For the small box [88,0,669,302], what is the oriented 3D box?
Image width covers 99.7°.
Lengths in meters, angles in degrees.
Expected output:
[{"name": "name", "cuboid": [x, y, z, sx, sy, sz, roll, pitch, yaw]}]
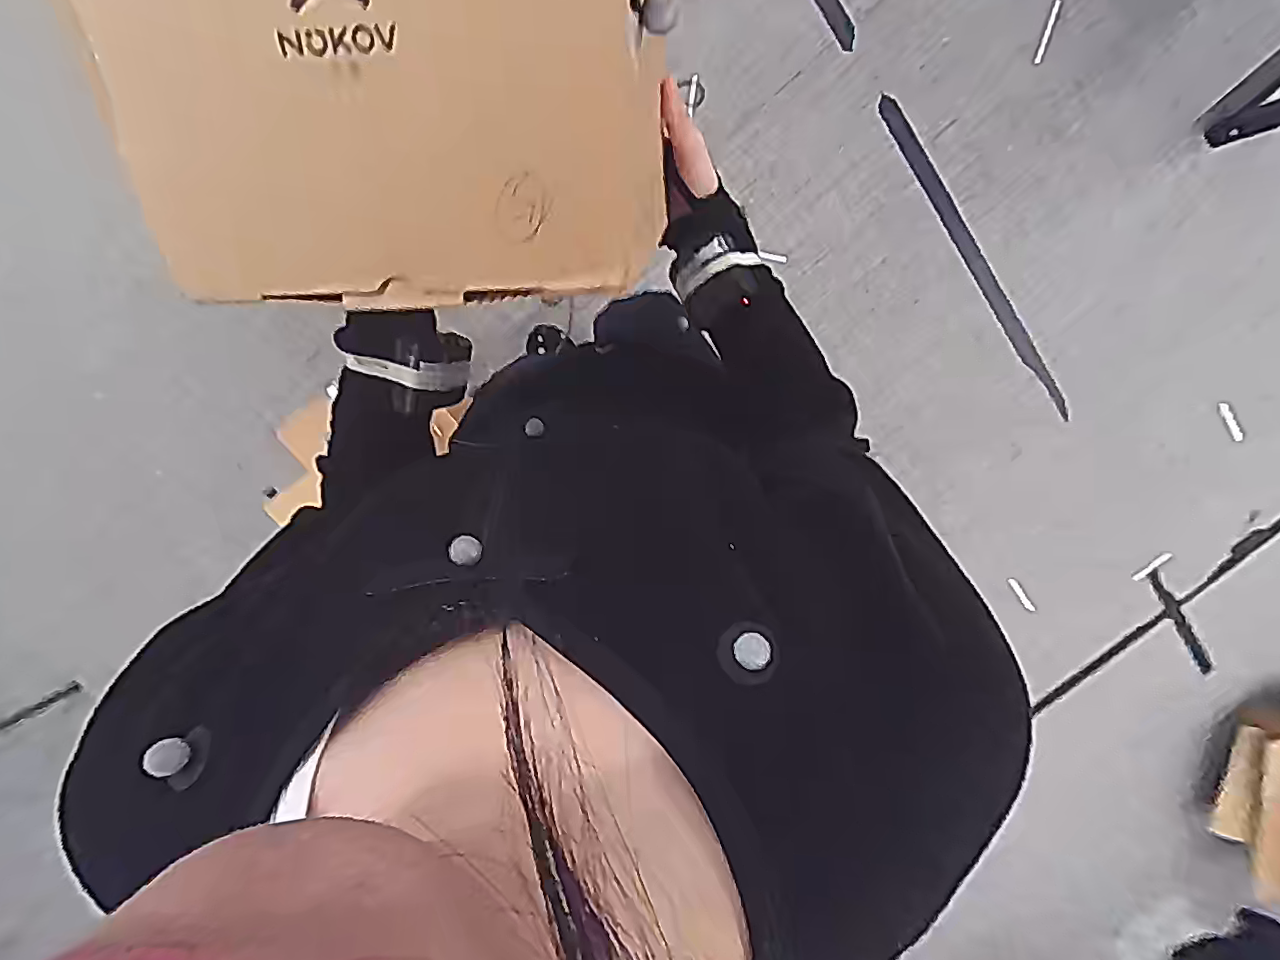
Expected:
[{"name": "small box", "cuboid": [-0.074, -0.179, 0.222, 0.168, 0.176, 0.179, 0, 117, 5]}]
